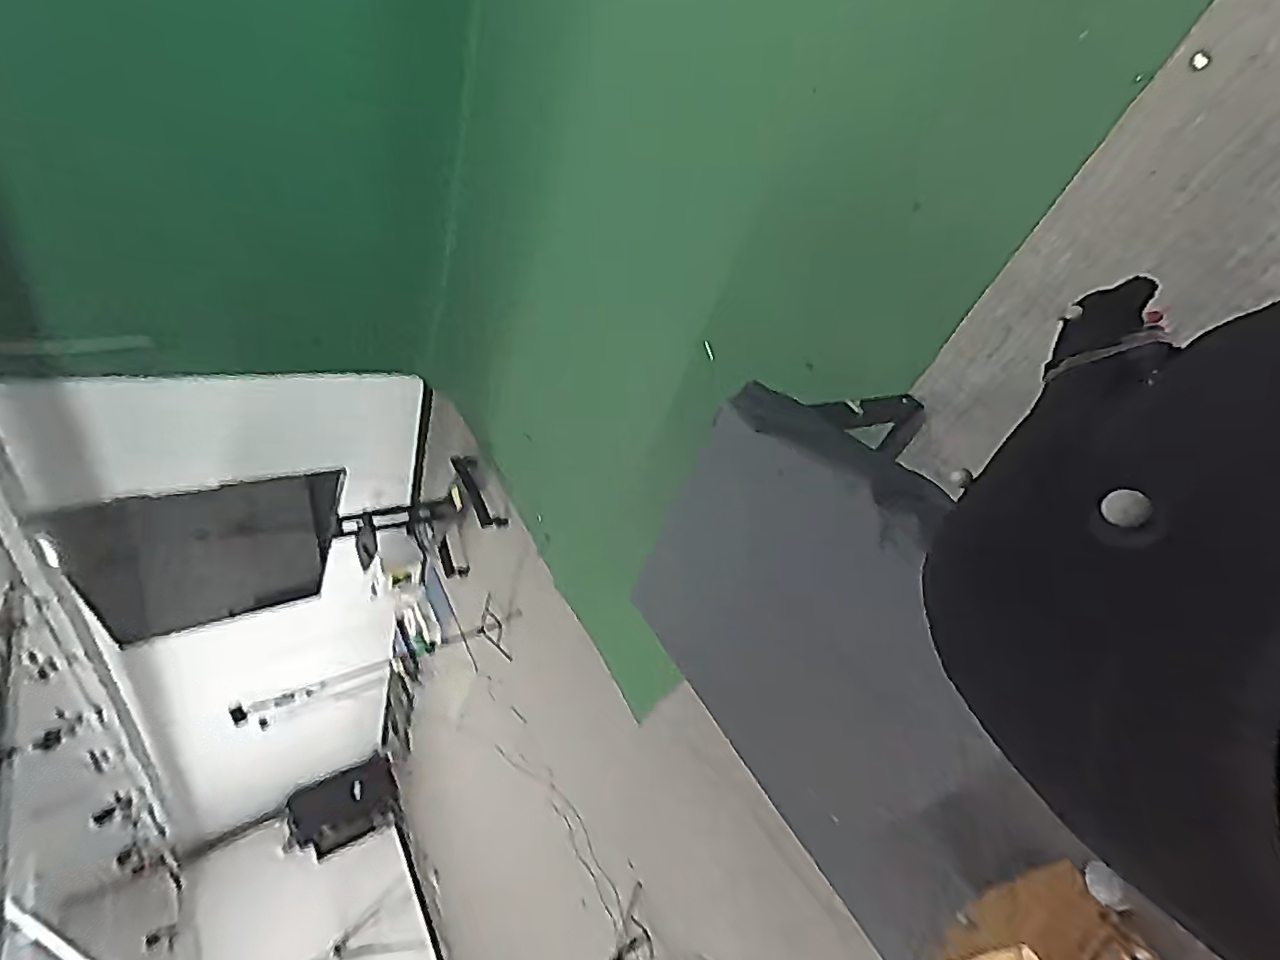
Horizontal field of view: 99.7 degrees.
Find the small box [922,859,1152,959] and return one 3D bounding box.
[{"bbox_3d":[0.493,0.615,0.660,0.168,0.176,0.179,49,131,31],"label":"small box"}]
